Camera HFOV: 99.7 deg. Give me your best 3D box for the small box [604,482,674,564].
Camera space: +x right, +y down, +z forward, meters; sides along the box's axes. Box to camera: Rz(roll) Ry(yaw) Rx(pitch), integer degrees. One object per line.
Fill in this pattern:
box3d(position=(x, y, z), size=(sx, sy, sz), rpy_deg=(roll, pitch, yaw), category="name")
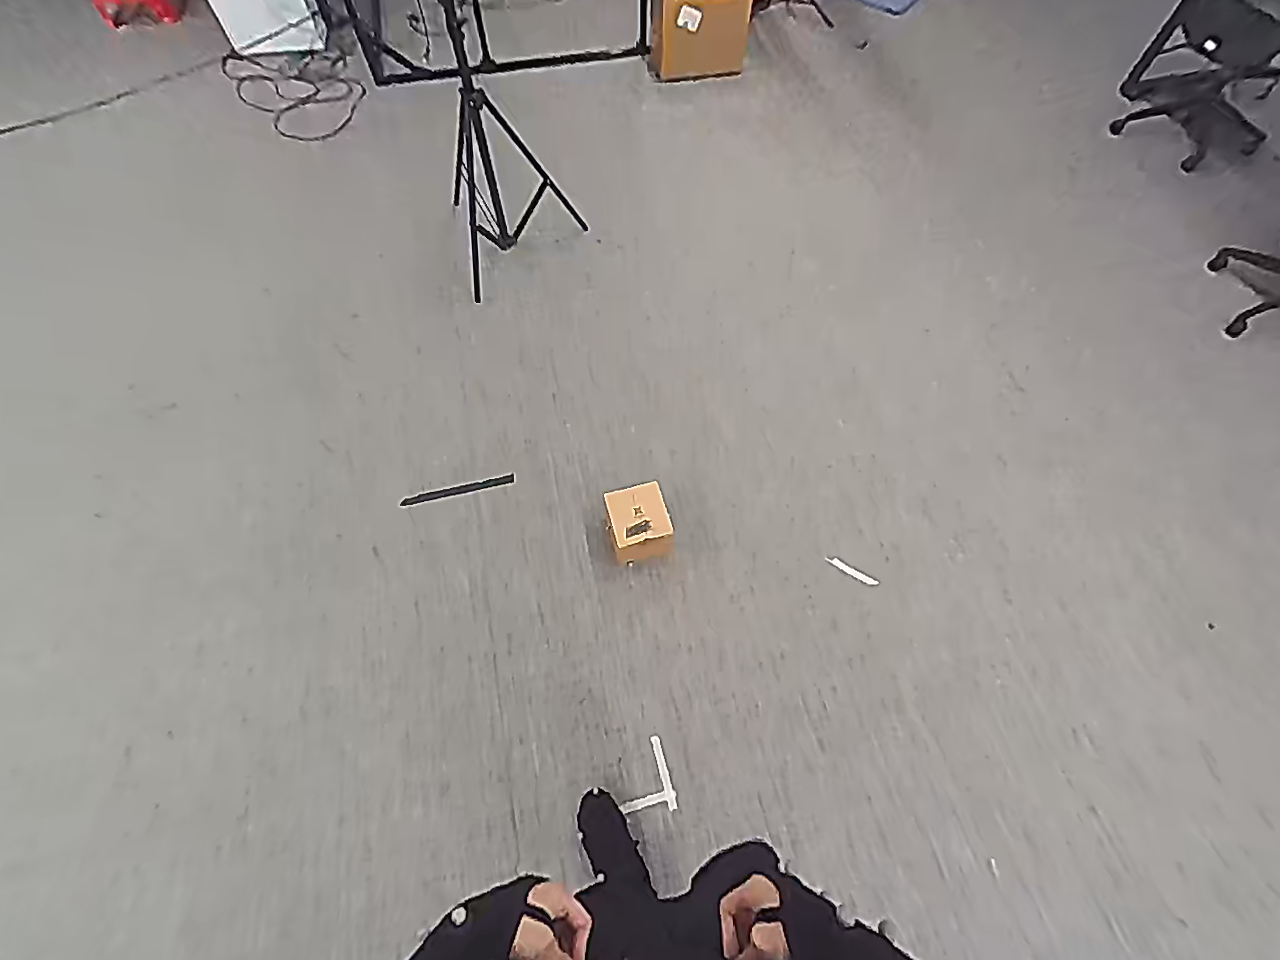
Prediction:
box3d(position=(-0.005, 0.135, 1.597), size=(0.168, 0.176, 0.179), rpy_deg=(-14, 63, -8), category="small box")
